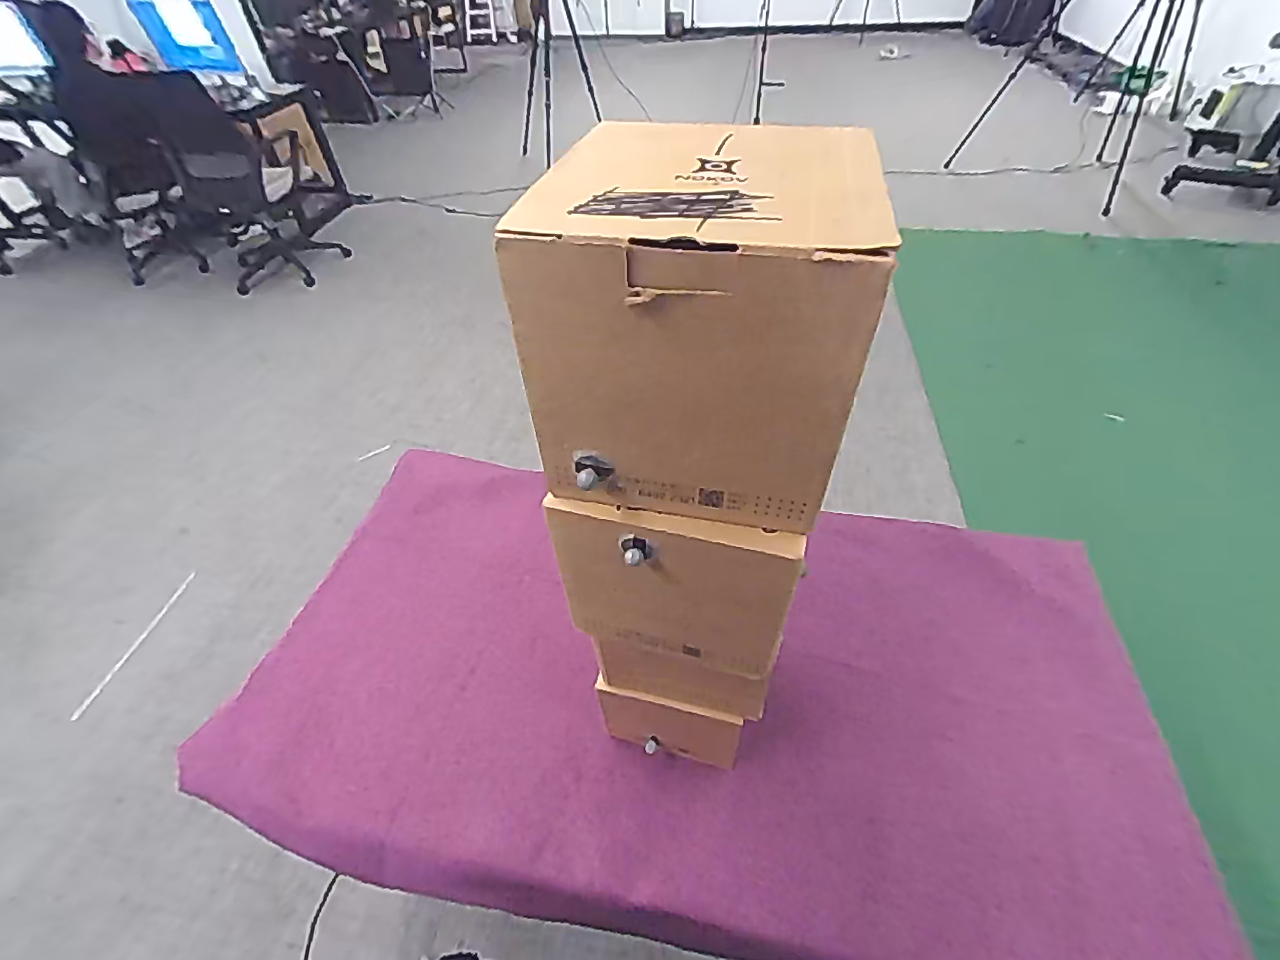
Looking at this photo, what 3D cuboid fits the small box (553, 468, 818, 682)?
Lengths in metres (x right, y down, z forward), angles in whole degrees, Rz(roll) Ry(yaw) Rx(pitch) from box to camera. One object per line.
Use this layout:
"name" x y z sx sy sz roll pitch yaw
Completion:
"small box" 0.047 0.030 0.436 0.168 0.176 0.179 10 47 14

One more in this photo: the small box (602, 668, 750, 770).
"small box" 0.060 0.236 0.689 0.168 0.176 0.179 9 49 13

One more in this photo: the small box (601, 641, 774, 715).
"small box" 0.060 0.125 0.571 0.179 0.176 0.168 9 48 12

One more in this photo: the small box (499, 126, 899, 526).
"small box" 0.040 -0.094 0.327 0.168 0.176 0.179 8 47 10
